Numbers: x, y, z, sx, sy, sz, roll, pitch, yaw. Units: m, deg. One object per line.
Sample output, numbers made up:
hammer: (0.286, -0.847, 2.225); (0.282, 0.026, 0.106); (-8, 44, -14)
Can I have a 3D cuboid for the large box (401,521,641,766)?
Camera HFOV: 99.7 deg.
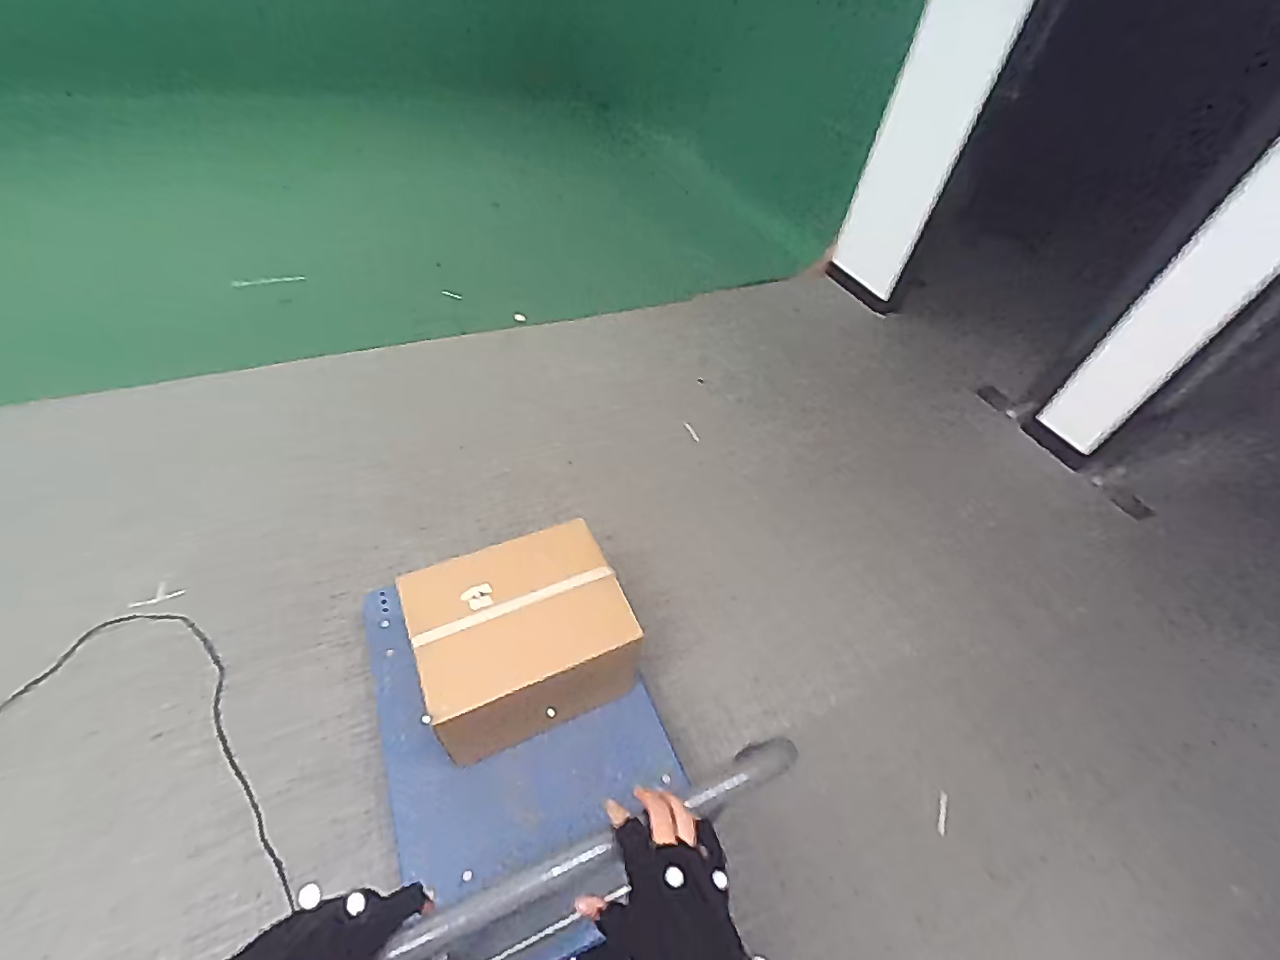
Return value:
large box: (-0.249, 0.351, 1.180); (0.408, 0.320, 0.320); (-18, 53, -20)
